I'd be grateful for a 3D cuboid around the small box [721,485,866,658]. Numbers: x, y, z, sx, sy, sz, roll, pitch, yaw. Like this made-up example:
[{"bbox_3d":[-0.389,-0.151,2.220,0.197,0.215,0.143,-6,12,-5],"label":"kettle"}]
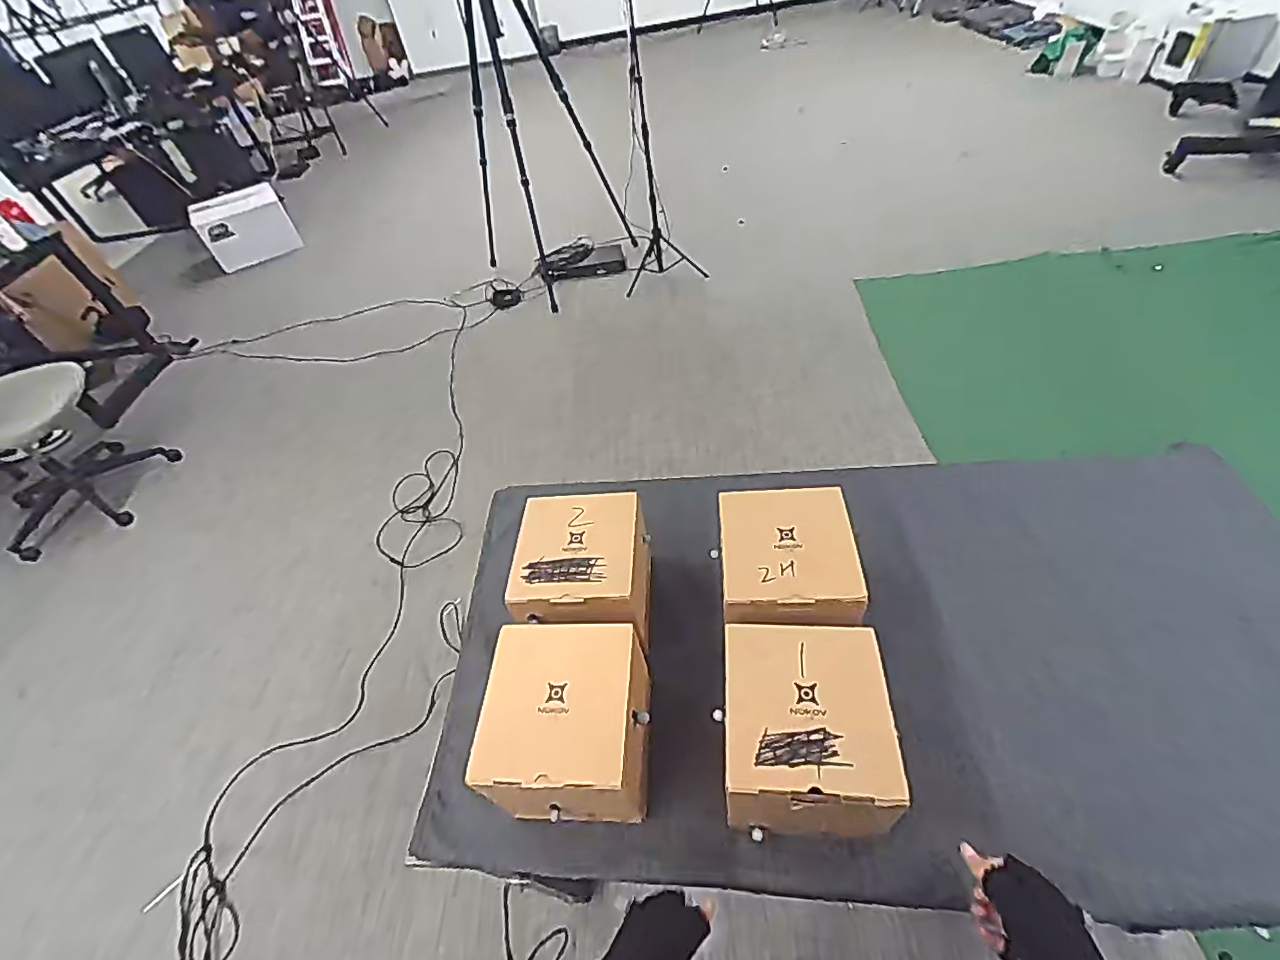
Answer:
[{"bbox_3d":[0.198,0.127,0.750,0.168,0.176,0.179,-2,48,8],"label":"small box"}]
